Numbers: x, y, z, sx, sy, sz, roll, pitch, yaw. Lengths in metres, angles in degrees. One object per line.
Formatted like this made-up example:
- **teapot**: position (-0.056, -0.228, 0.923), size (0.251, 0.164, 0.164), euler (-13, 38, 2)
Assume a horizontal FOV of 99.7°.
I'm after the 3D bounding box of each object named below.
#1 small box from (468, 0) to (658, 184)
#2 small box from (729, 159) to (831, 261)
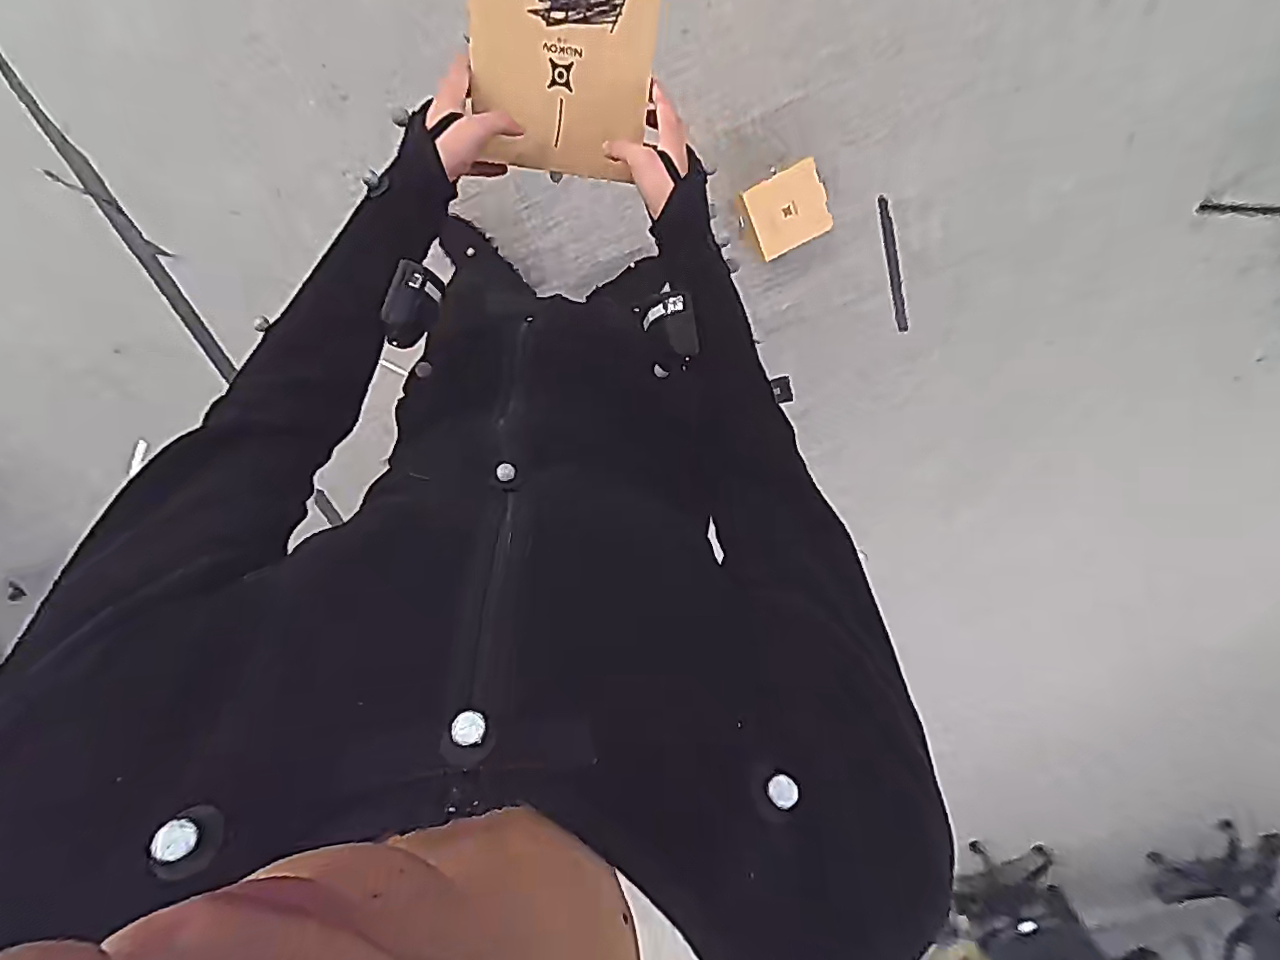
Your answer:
- **small box**: position (-0.079, -0.422, 0.559), size (0.168, 0.176, 0.179), euler (4, 123, -8)
- **small box**: position (0.340, -0.665, 1.334), size (0.179, 0.176, 0.168), euler (-24, 115, 9)
